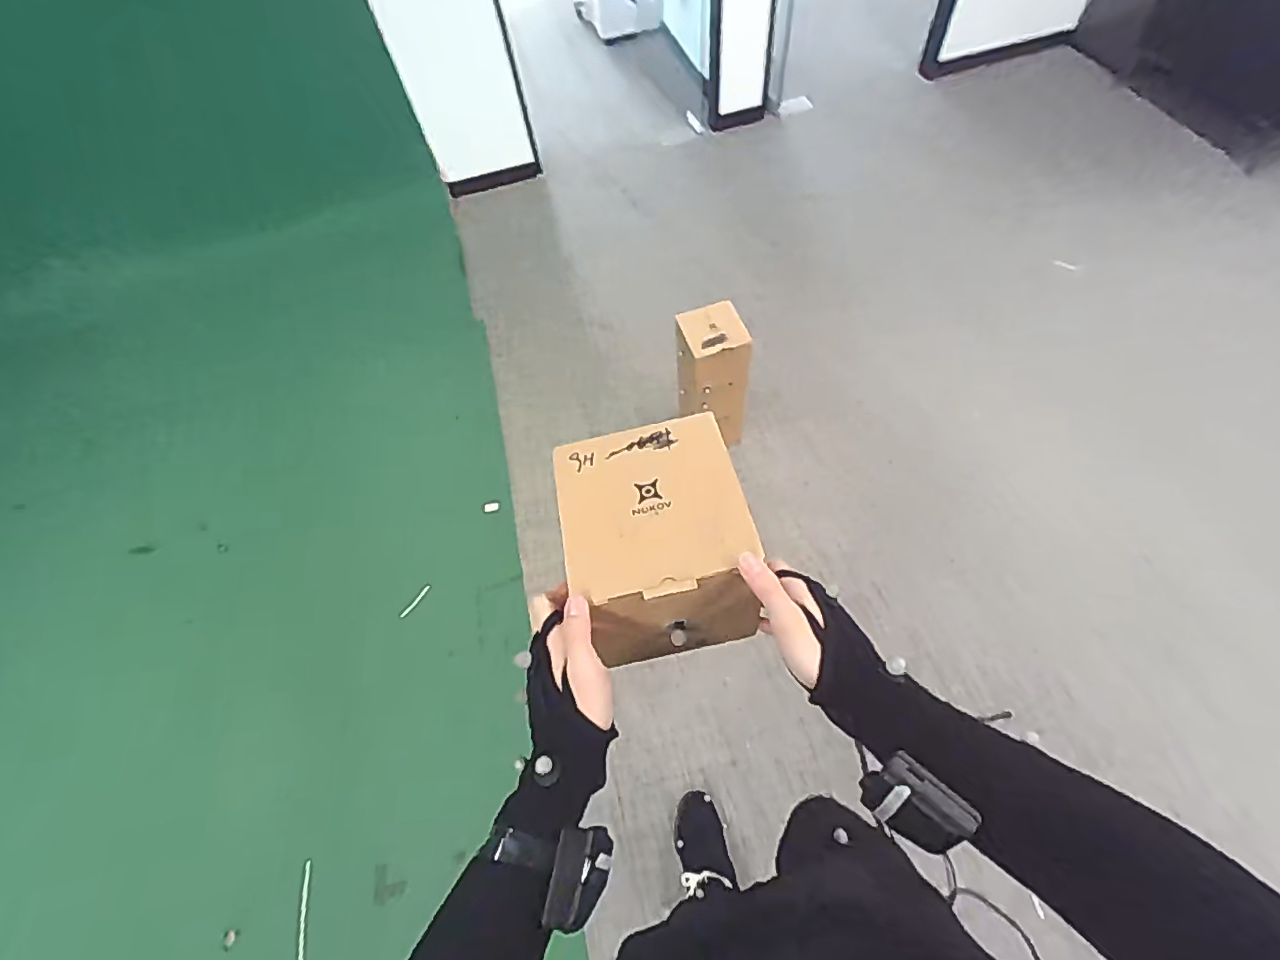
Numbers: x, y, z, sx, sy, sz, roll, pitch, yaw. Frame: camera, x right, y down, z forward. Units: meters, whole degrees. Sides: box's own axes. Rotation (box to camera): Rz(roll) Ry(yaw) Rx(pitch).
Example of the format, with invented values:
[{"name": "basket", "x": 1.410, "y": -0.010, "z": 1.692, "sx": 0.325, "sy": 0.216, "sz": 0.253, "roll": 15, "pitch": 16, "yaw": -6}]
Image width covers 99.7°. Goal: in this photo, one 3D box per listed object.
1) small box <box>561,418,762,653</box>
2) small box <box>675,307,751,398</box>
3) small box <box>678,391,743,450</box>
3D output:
[{"name": "small box", "x": 0.022, "y": 0.067, "z": 0.566, "sx": 0.168, "sy": 0.176, "sz": 0.179, "roll": -12, "pitch": 53, "yaw": 0}, {"name": "small box", "x": 0.208, "y": -0.357, "z": 1.553, "sx": 0.168, "sy": 0.176, "sz": 0.179, "roll": -17, "pitch": 58, "yaw": -4}, {"name": "small box", "x": 0.238, "y": -0.199, "z": 1.840, "sx": 0.179, "sy": 0.176, "sz": 0.168, "roll": -16, "pitch": 59, "yaw": -4}]
